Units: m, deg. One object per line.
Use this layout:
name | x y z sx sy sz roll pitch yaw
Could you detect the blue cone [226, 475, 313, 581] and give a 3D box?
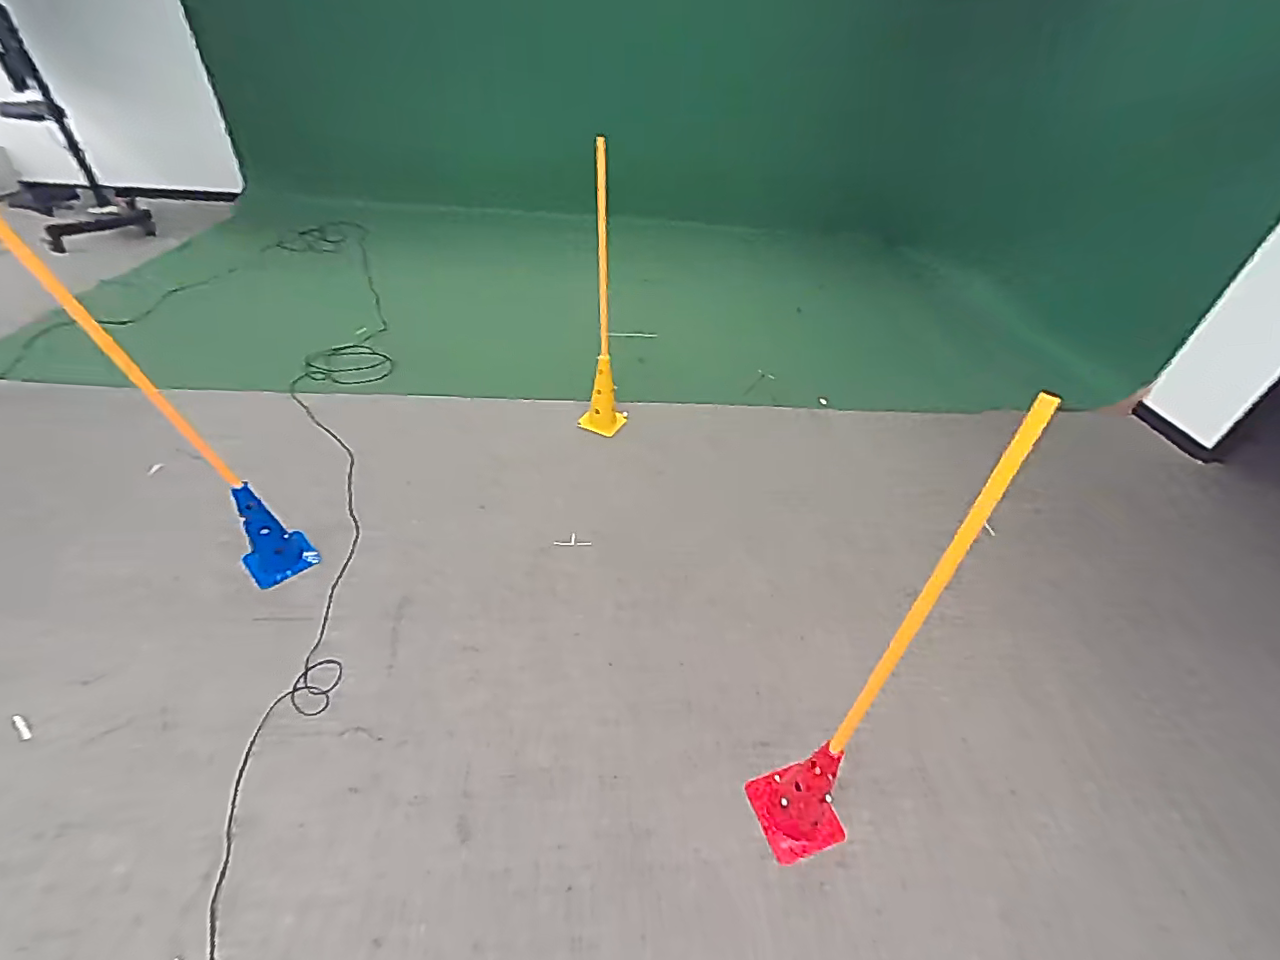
blue cone | -1.247 0.138 1.767 0.192 0.380 0.193 34 50 27
